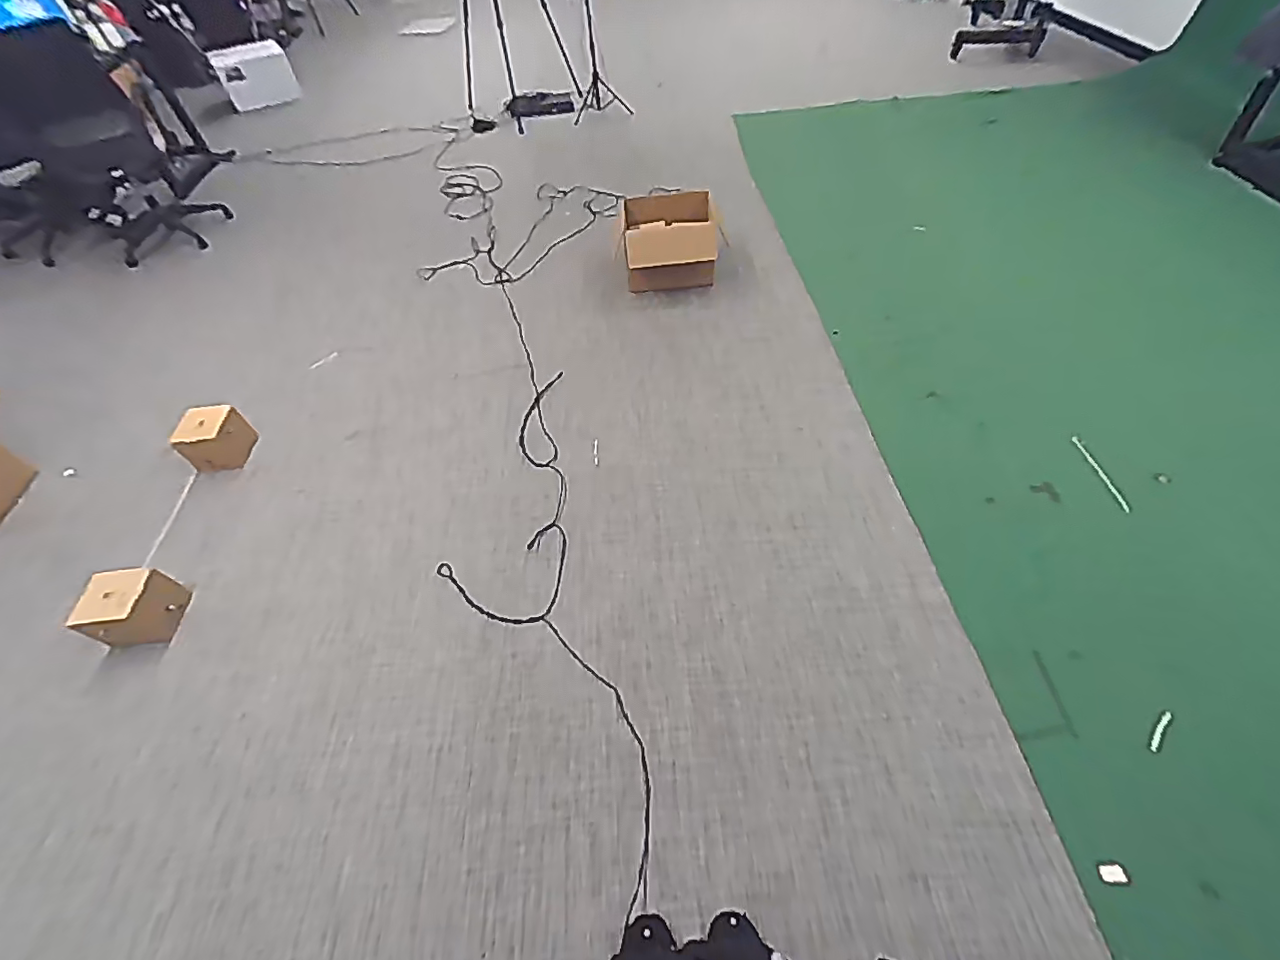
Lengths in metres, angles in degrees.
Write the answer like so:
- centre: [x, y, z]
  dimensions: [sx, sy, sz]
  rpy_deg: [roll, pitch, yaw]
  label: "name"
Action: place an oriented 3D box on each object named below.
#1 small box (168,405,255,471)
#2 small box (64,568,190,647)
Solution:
- centre: [-1.585, -0.156, 2.017]
  dimensions: [0.168, 0.176, 0.179]
  rpy_deg: [-6, 53, -1]
  label: "small box"
- centre: [-1.503, 0.381, 1.599]
  dimensions: [0.179, 0.176, 0.168]
  rpy_deg: [-7, 53, 0]
  label: "small box"
